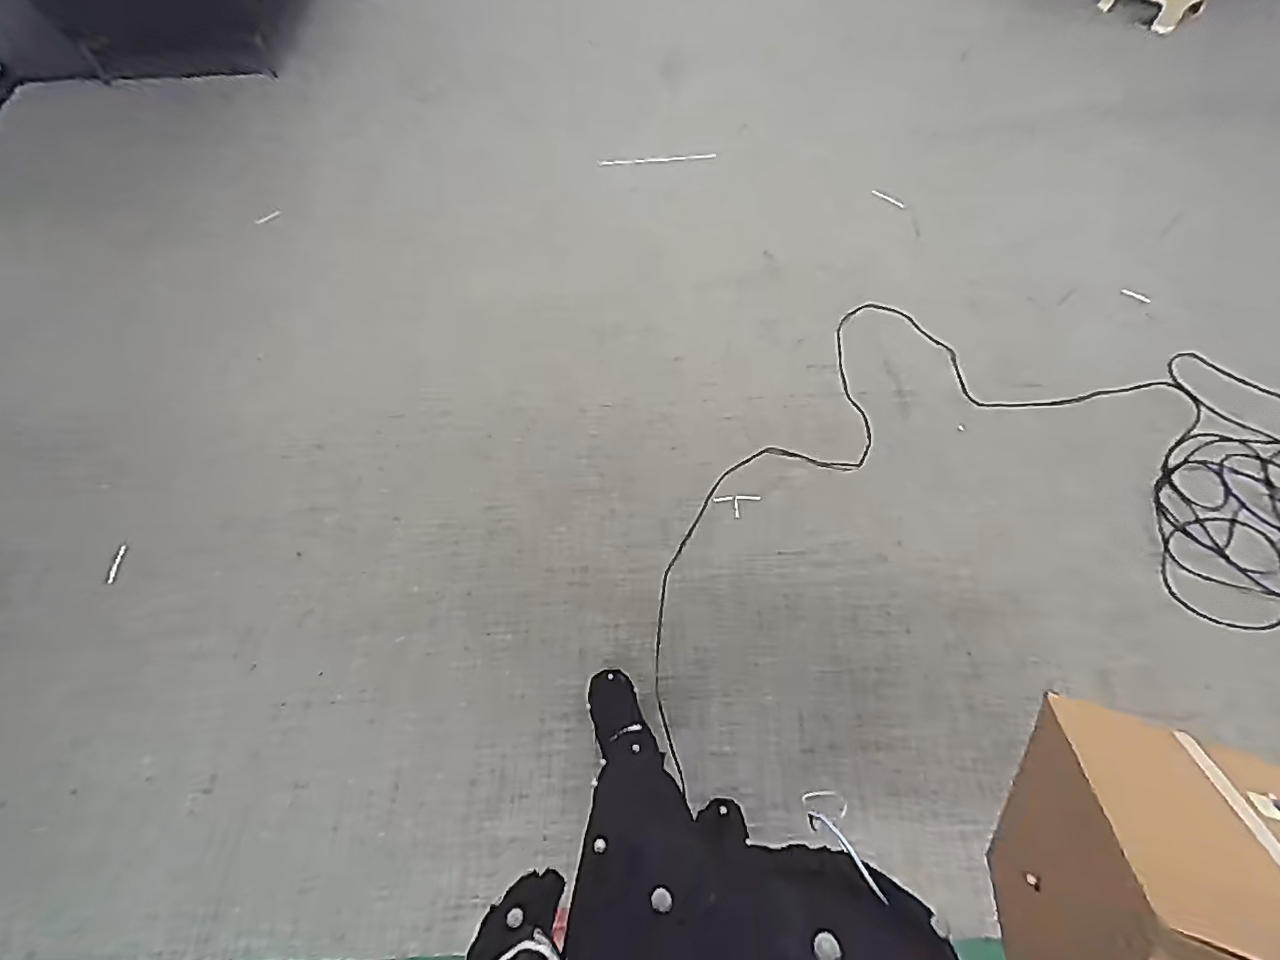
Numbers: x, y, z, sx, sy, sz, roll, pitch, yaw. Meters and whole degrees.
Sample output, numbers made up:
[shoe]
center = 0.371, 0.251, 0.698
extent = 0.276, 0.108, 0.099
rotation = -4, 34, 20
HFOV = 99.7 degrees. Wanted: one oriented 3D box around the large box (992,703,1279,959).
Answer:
[large box]
center = 0.653, 0.546, 0.623
extent = 0.320, 0.408, 0.320
rotation = 15, 104, 22
